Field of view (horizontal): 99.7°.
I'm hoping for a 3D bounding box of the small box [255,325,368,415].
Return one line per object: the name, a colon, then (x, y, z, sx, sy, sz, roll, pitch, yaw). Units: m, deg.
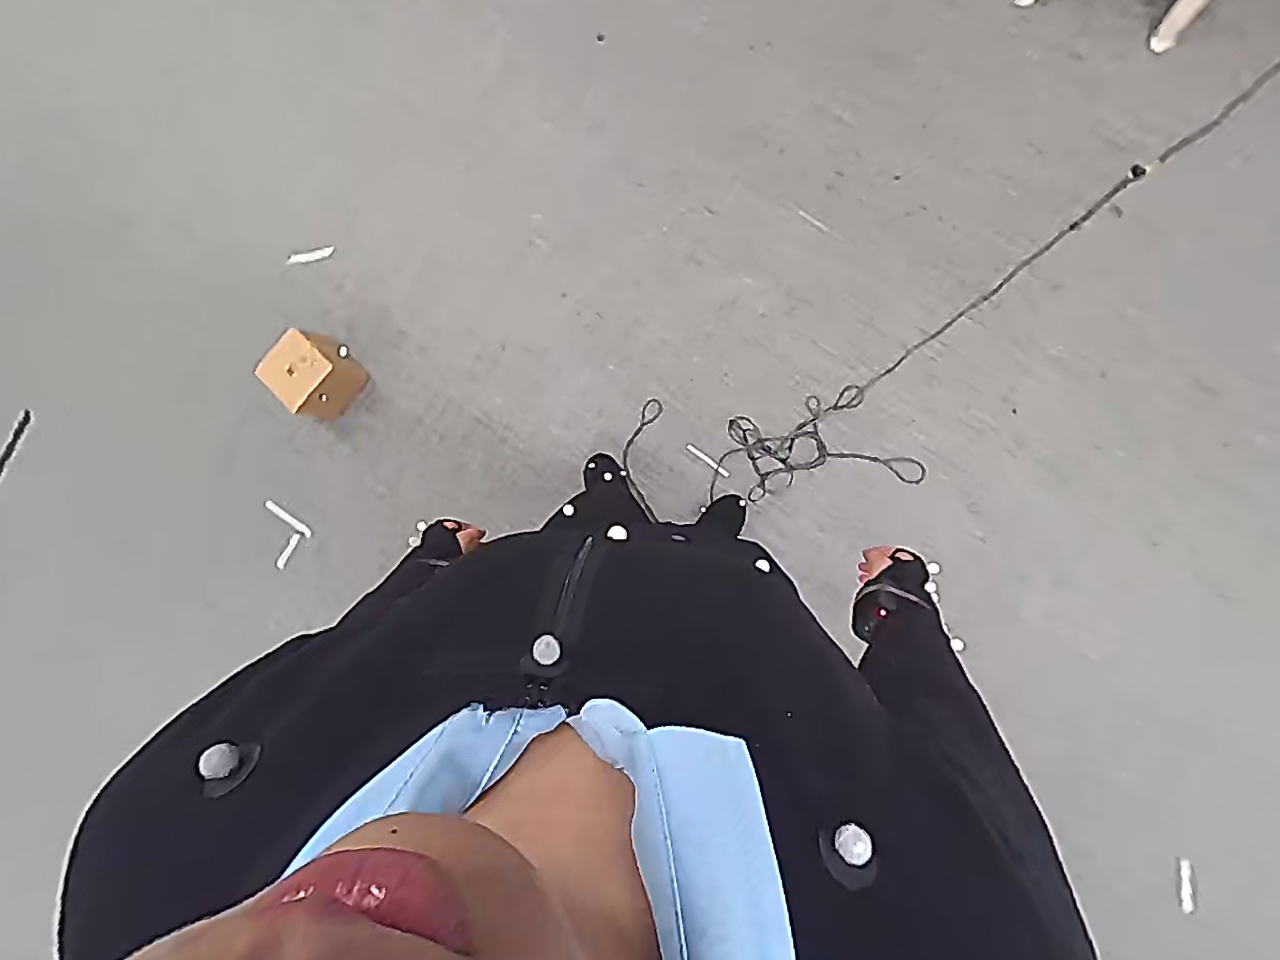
small box: (-0.916, -0.300, 1.526, 0.179, 0.176, 0.168, -45, 87, 6)
